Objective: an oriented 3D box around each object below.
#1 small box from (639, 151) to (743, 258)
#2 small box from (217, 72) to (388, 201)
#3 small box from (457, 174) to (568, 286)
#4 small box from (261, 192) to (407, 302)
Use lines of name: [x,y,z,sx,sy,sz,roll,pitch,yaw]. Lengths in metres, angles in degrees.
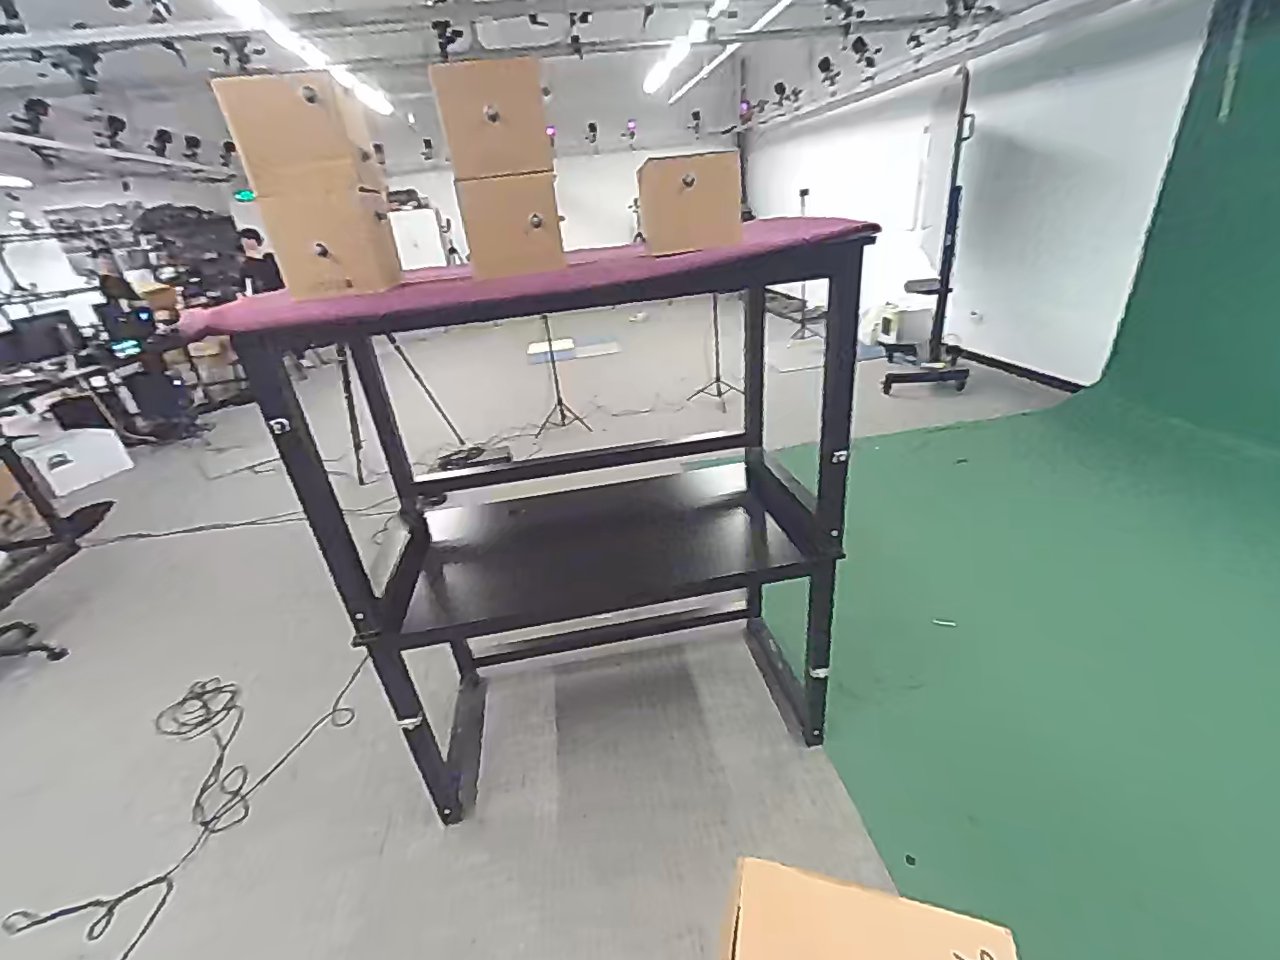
small box: [0.102,-0.550,1.099,0.179,0.176,0.168,-9,25,-4]
small box: [-0.564,-0.577,0.932,0.179,0.176,0.168,-9,28,-8]
small box: [-0.236,-0.483,1.046,0.179,0.176,0.168,-10,26,-6]
small box: [-0.551,-0.432,1.006,0.168,0.176,0.179,-8,27,-7]
